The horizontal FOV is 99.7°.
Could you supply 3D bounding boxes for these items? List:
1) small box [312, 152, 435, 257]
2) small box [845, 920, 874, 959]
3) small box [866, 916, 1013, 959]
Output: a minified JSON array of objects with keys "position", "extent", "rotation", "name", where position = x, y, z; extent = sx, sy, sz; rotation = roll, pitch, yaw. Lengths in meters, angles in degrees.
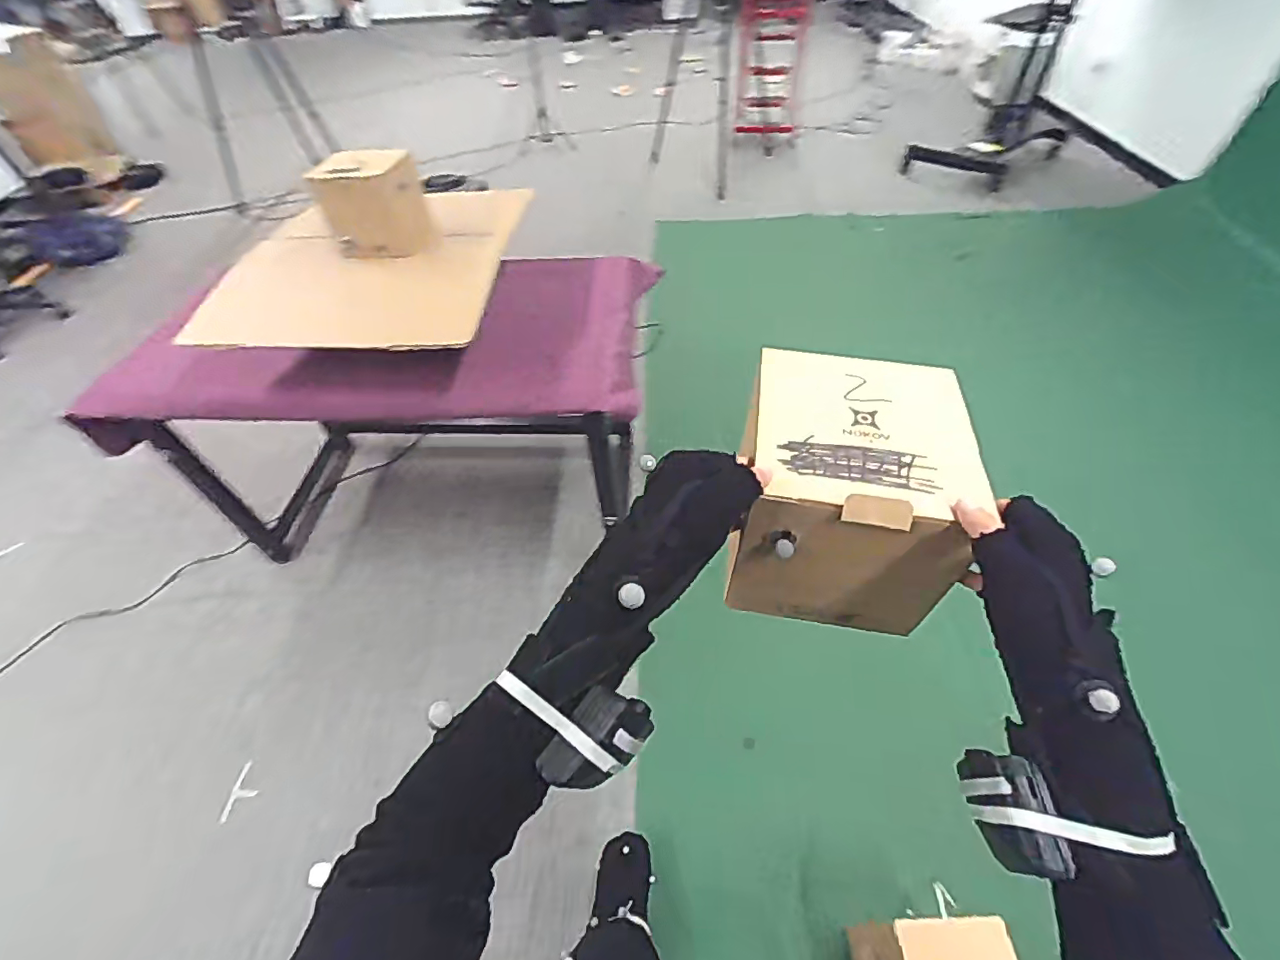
[{"position":[-0.586,-0.618,1.220],"extent":[0.168,0.176,0.179],"rotation":[1,46,5],"name":"small box"},{"position":[0.503,0.927,1.004],"extent":[0.179,0.176,0.168],"rotation":[-1,49,2],"name":"small box"},{"position":[0.497,0.819,0.882],"extent":[0.179,0.176,0.168],"rotation":[-3,50,2],"name":"small box"}]
